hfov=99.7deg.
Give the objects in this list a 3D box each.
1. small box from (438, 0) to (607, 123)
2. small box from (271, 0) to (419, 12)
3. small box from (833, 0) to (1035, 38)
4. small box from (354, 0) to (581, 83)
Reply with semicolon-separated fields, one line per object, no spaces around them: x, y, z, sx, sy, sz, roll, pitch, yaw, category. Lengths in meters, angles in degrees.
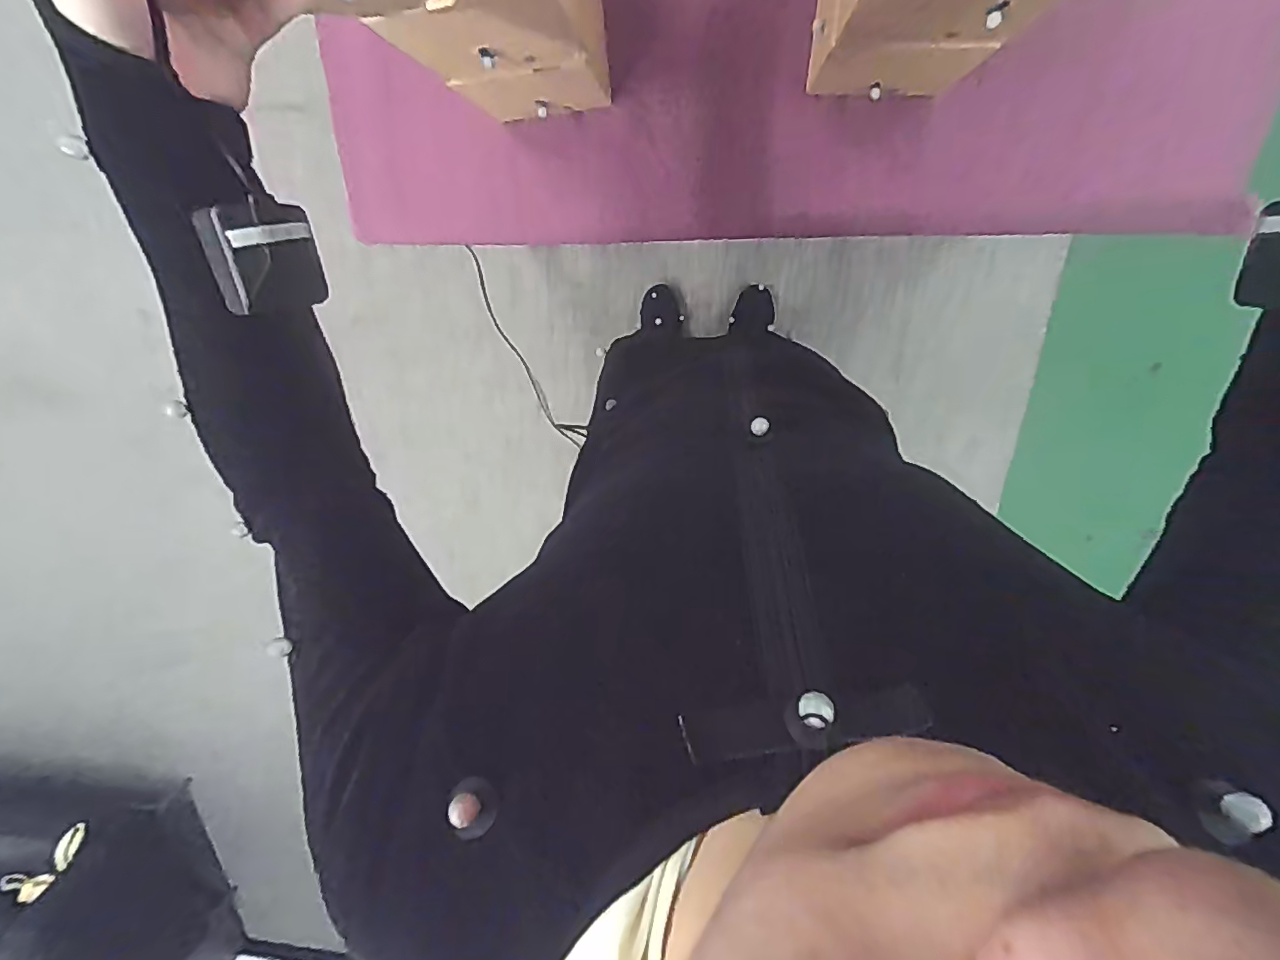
-0.141;-0.557;0.644;0.168;0.176;0.179;-2;111;10;small box
-0.169;-0.365;0.269;0.179;0.176;0.168;6;127;30;small box
0.261;-0.485;0.434;0.168;0.176;0.179;4;112;7;small box
-0.161;-0.503;0.492;0.168;0.176;0.179;-5;111;10;small box
